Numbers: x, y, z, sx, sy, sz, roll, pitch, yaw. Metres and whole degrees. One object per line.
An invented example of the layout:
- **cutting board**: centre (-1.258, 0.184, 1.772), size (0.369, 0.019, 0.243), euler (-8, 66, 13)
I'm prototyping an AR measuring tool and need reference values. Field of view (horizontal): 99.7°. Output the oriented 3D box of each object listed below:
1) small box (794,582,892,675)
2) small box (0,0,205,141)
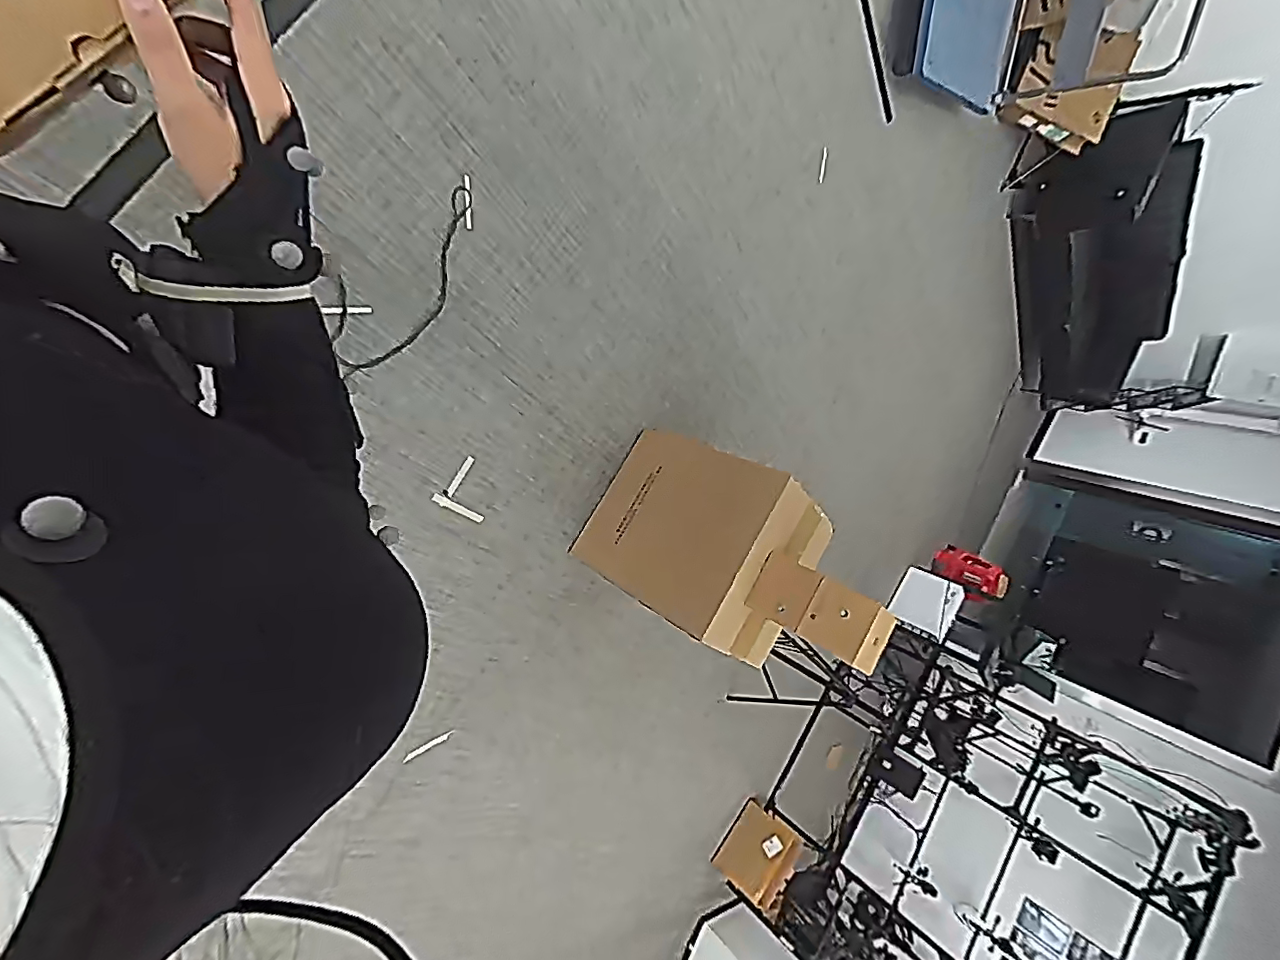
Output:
- **small box**: centre (0.533, 0.388, 1.428), size (0.179, 0.176, 0.168), euler (37, 80, -47)
- **small box**: centre (-0.336, -0.280, 0.242), size (0.168, 0.176, 0.179), euler (-47, 140, -7)
